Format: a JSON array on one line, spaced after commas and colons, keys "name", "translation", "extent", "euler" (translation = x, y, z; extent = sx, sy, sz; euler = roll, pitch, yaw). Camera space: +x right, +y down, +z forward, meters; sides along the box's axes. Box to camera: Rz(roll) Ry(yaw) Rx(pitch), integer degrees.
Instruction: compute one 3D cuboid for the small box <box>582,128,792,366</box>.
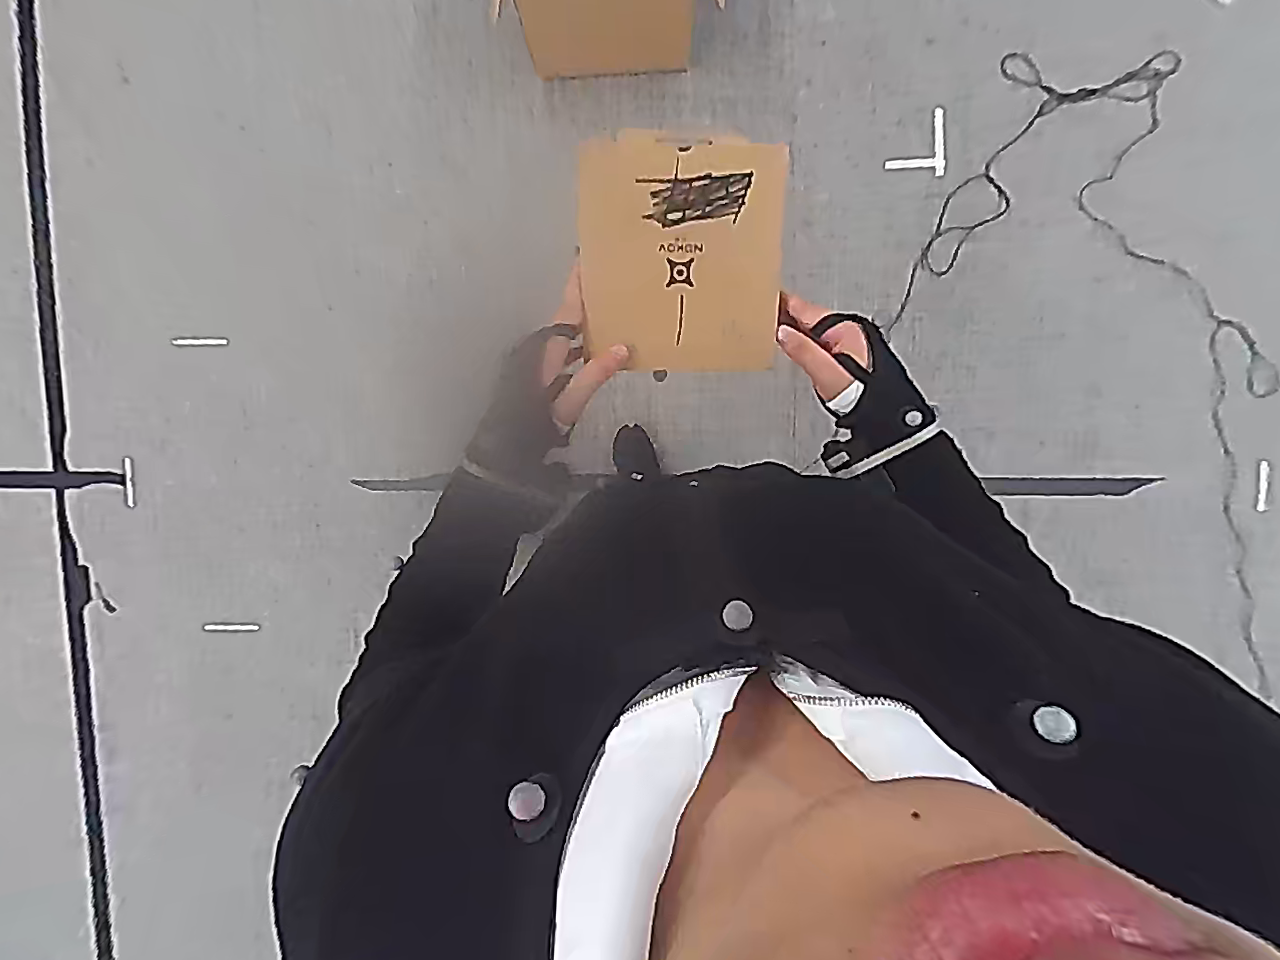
[{"name": "small box", "translation": [0.030, -0.199, 0.506], "extent": [0.168, 0.176, 0.179], "euler": [-1, 105, -3]}]
